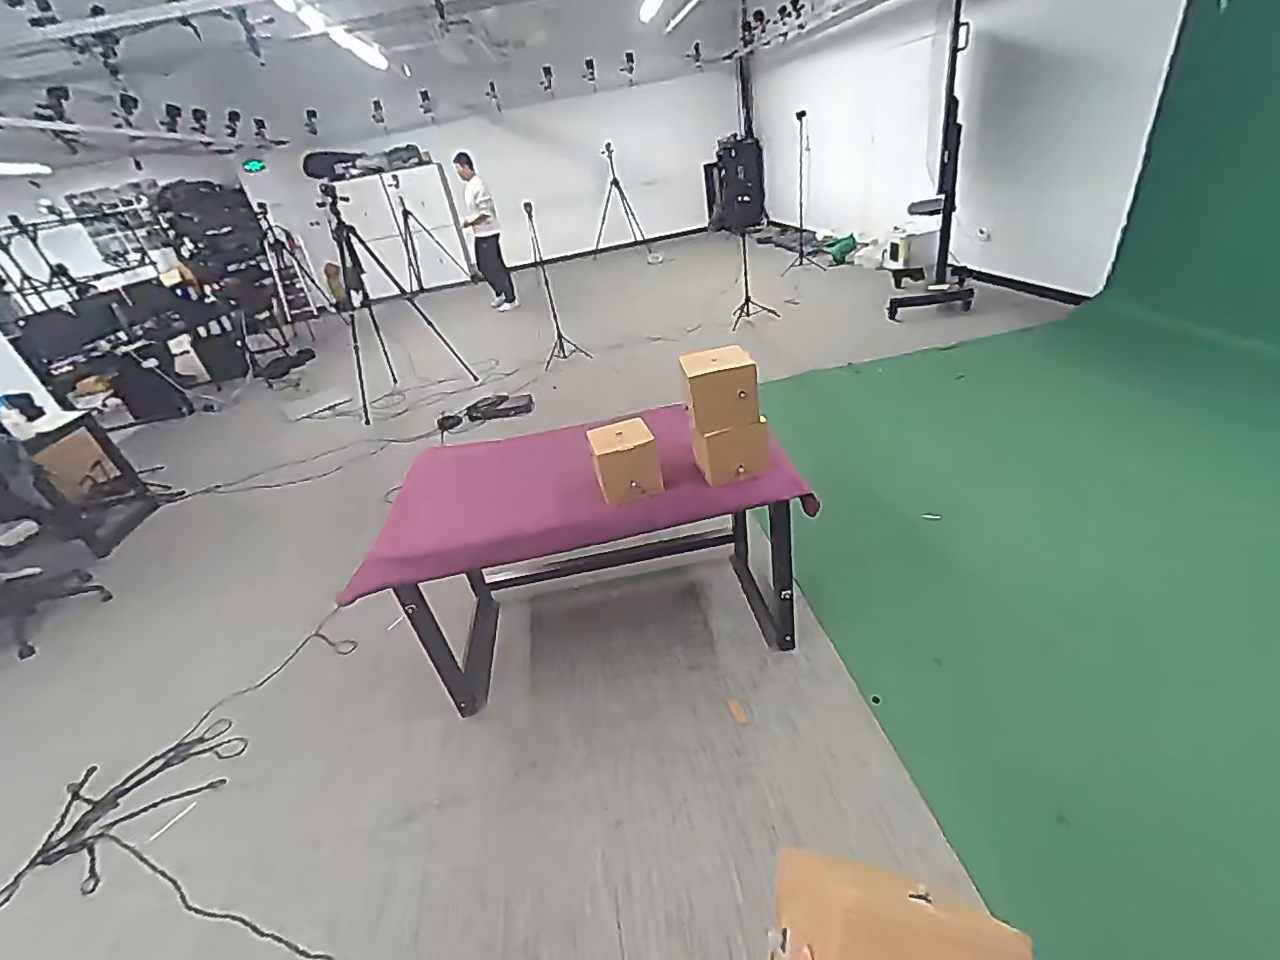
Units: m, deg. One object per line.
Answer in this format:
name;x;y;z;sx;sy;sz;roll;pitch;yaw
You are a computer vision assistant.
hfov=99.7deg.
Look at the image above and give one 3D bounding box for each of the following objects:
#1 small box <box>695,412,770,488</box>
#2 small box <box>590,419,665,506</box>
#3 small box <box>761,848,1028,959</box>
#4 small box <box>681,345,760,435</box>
small box;0.258;-0.102;1.524;0.179;0.176;0.168;-15;31;-4
small box;-0.035;-0.051;1.541;0.168;0.176;0.179;-16;30;-6
small box;0.228;0.480;0.516;0.179;0.176;0.168;14;66;1
small box;0.217;-0.240;1.447;0.179;0.176;0.168;-12;31;1
